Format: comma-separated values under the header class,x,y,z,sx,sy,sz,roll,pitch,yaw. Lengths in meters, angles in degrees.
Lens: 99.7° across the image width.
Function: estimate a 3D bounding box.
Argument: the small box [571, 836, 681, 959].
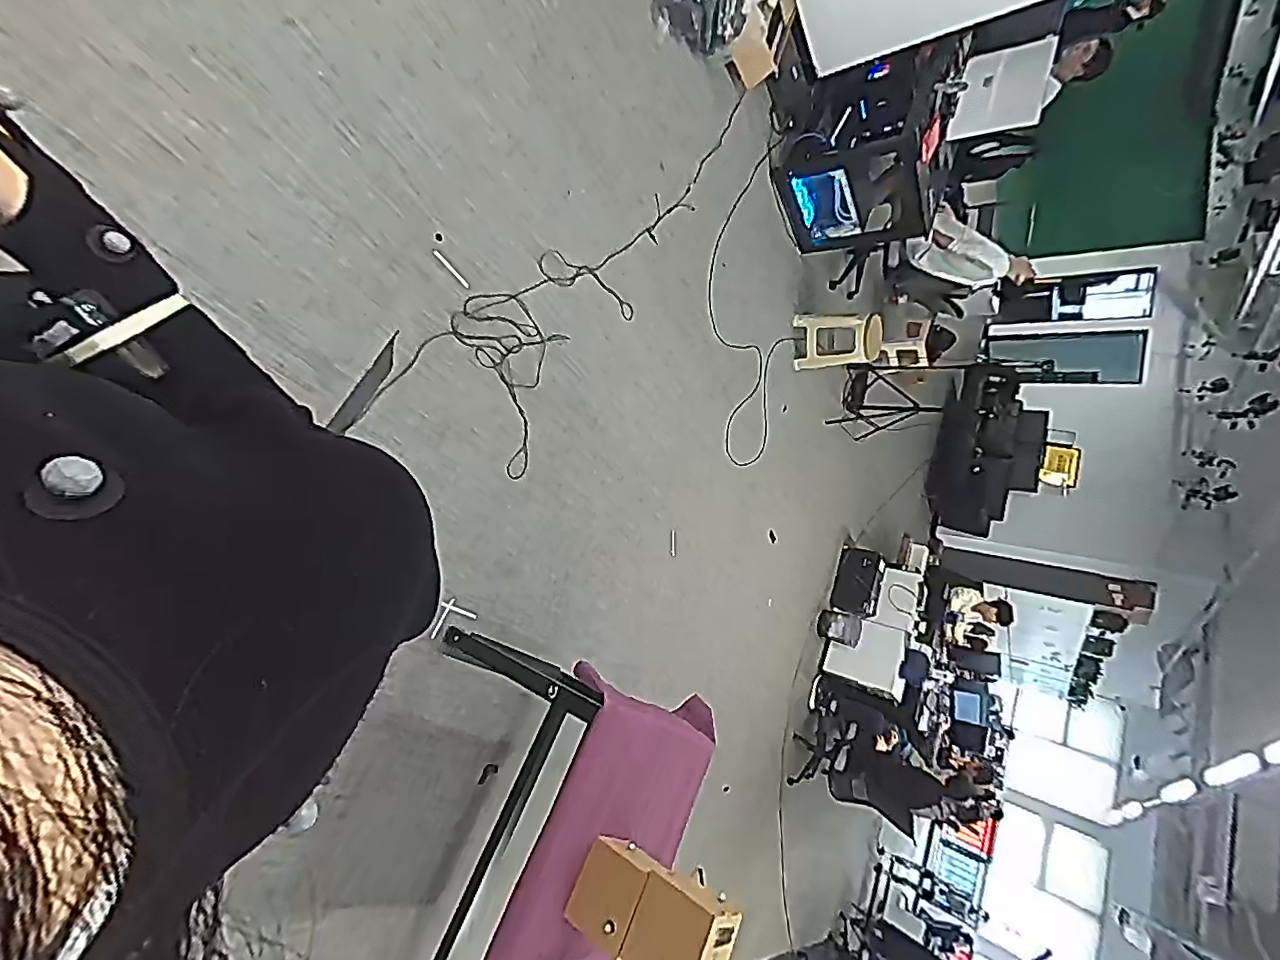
class,x,y,z,sx,sy,sz,roll,pitch,yaw
small box,-0.037,0.985,1.277,0.168,0.176,0.179,50,59,-44
